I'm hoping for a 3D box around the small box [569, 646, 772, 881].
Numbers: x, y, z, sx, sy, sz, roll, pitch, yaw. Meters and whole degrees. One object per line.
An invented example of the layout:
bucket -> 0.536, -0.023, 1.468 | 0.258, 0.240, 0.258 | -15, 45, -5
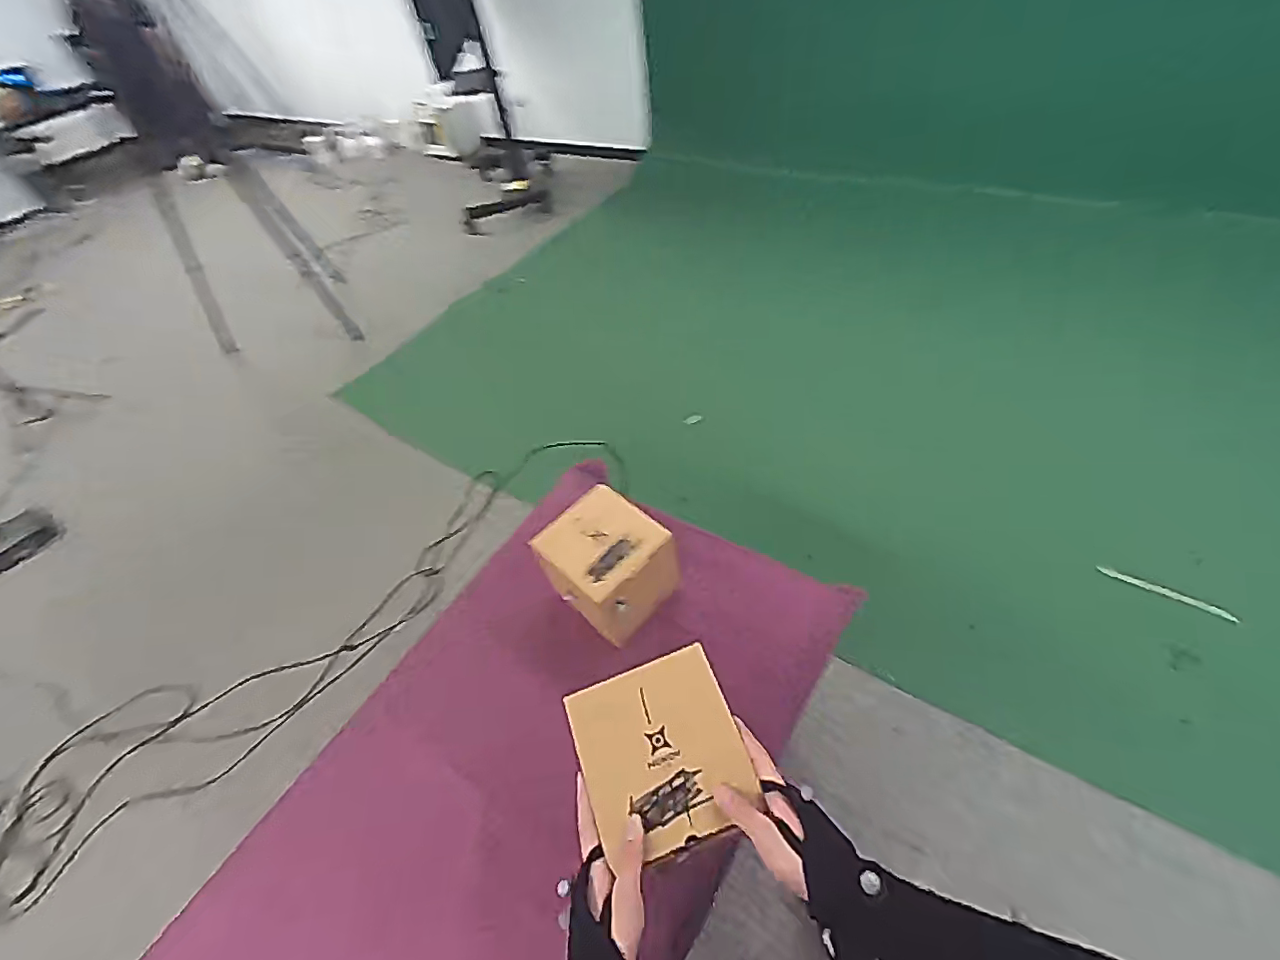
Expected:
small box -> 0.035, 0.322, 0.615 | 0.168, 0.176, 0.179 | -20, 53, -5
